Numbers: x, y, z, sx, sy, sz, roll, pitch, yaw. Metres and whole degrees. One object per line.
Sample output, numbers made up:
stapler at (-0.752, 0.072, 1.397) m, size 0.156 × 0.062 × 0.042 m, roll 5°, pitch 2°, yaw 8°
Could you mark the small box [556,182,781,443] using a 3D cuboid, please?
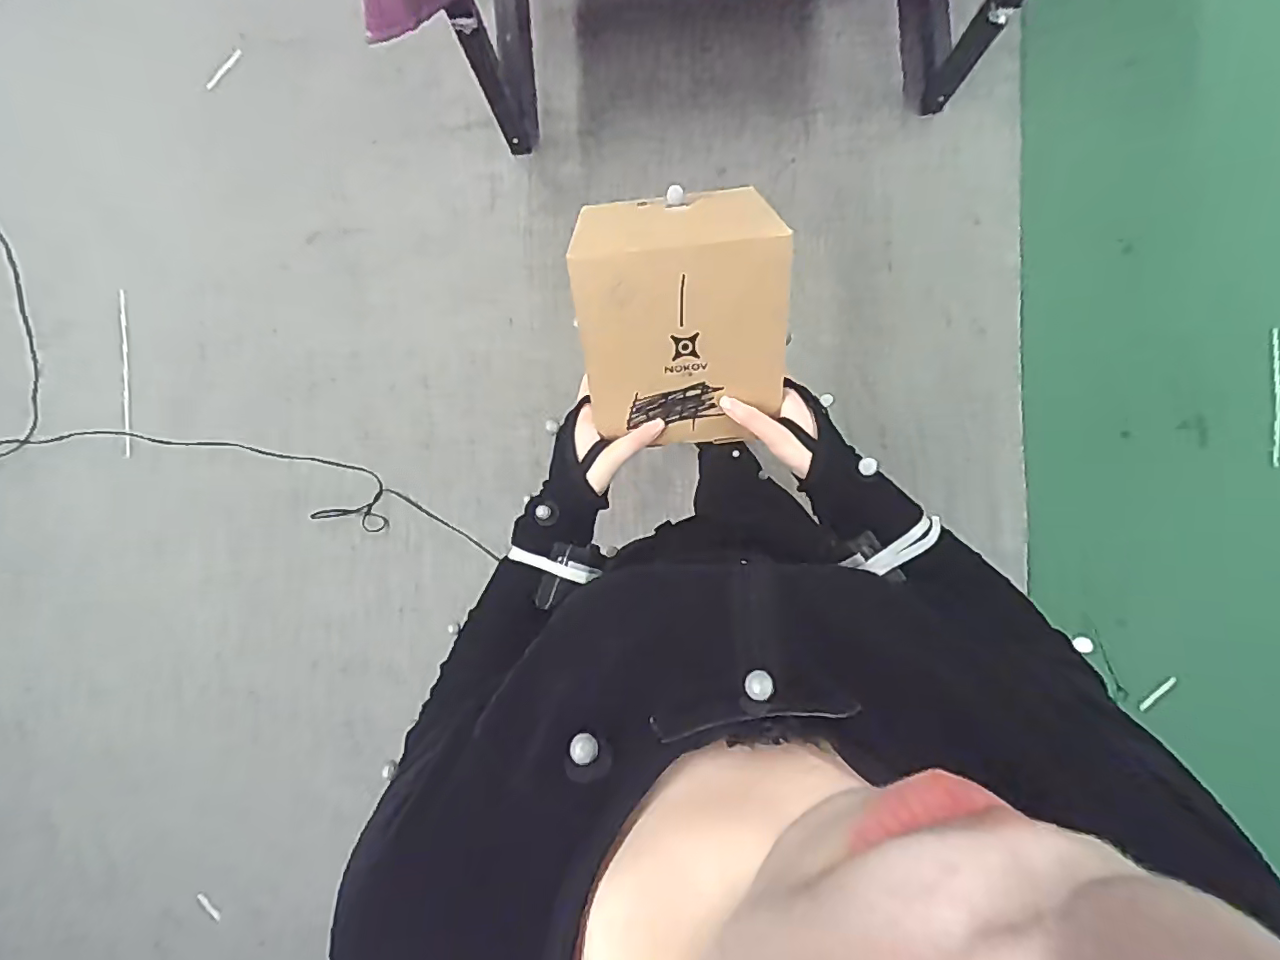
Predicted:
small box at (0.027, -0.156, 0.500) m, size 0.168 × 0.176 × 0.179 m, roll -5°, pitch 127°, yaw 3°
